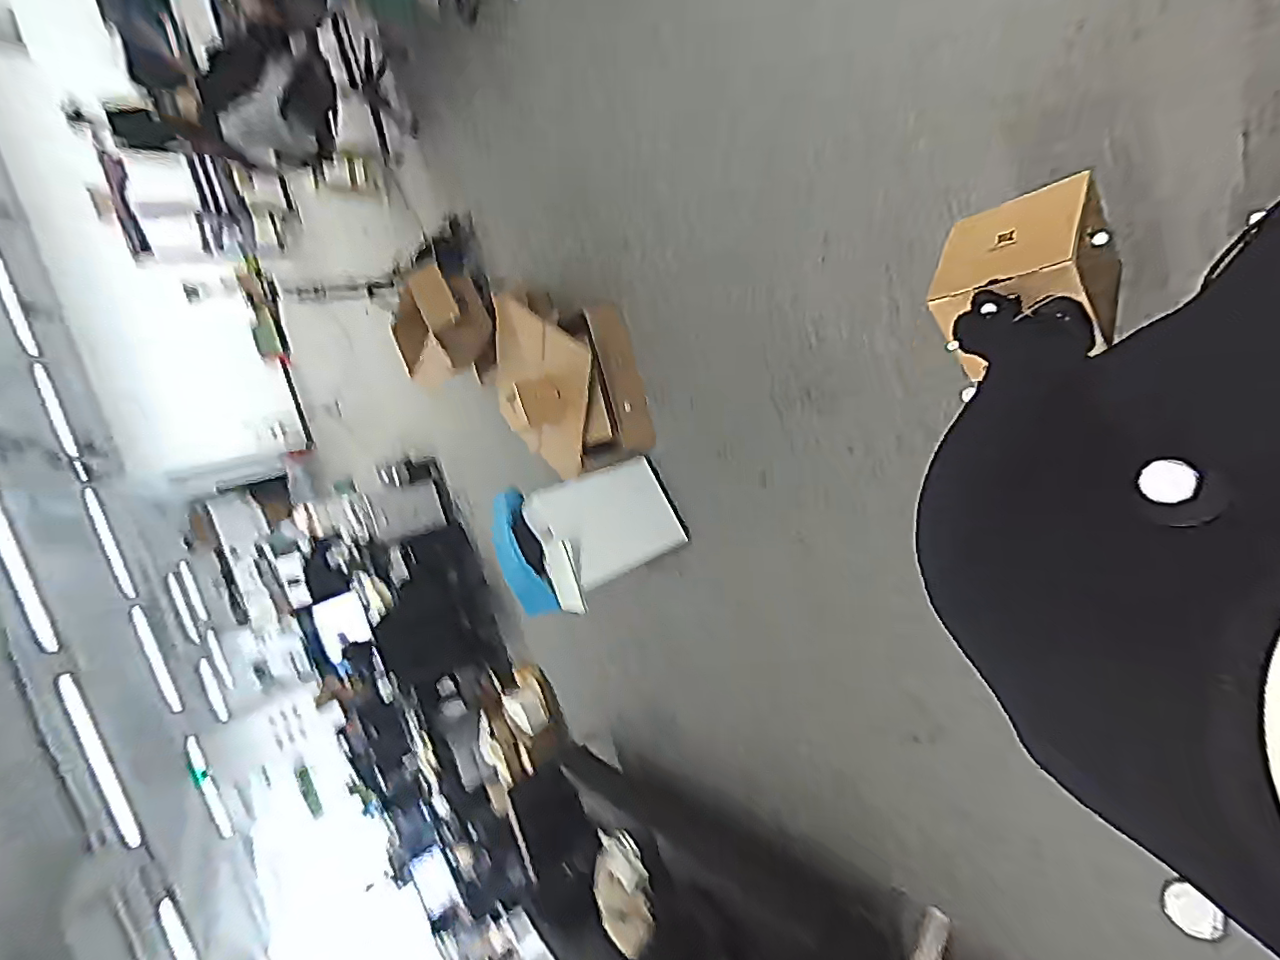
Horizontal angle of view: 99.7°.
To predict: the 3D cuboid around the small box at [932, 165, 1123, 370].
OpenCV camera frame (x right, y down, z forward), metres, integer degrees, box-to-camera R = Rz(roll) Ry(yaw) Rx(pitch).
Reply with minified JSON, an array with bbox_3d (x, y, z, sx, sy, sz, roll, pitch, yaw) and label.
[{"bbox_3d":[0.546,-0.283,0.757,0.176,0.179,0.168,40,156,-28],"label":"small box"}]
